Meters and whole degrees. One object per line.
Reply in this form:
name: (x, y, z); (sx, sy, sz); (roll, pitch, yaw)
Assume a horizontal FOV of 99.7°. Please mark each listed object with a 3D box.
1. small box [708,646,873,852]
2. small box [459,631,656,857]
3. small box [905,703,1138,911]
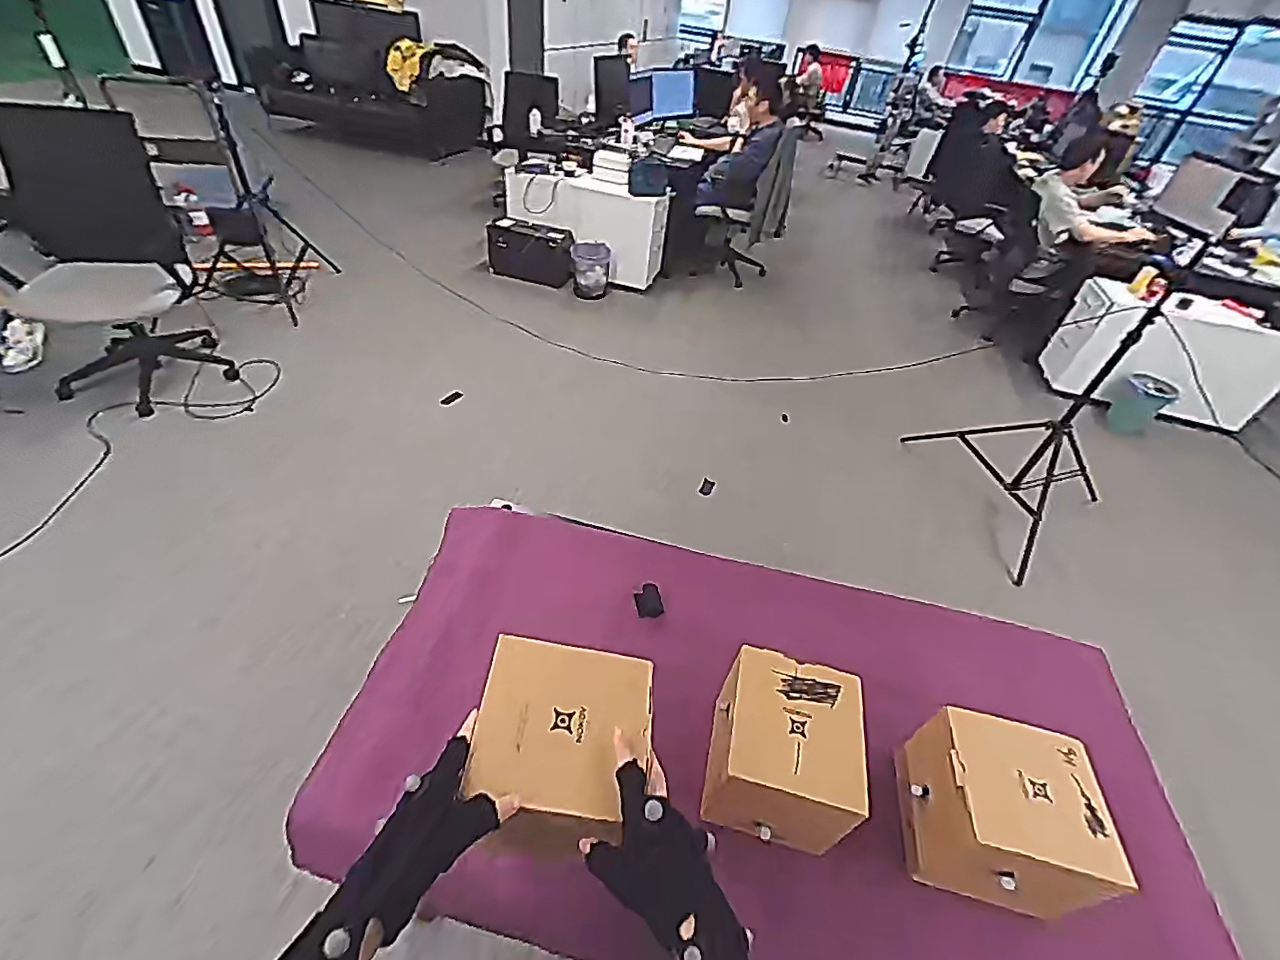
small box: (0.194, 0.362, 0.731); (0.168, 0.176, 0.179); (13, 42, 6)
small box: (-0.089, 0.296, 0.599); (0.179, 0.176, 0.168); (11, 41, -6)
small box: (0.466, 0.426, 0.703); (0.179, 0.176, 0.168); (13, 41, 6)
